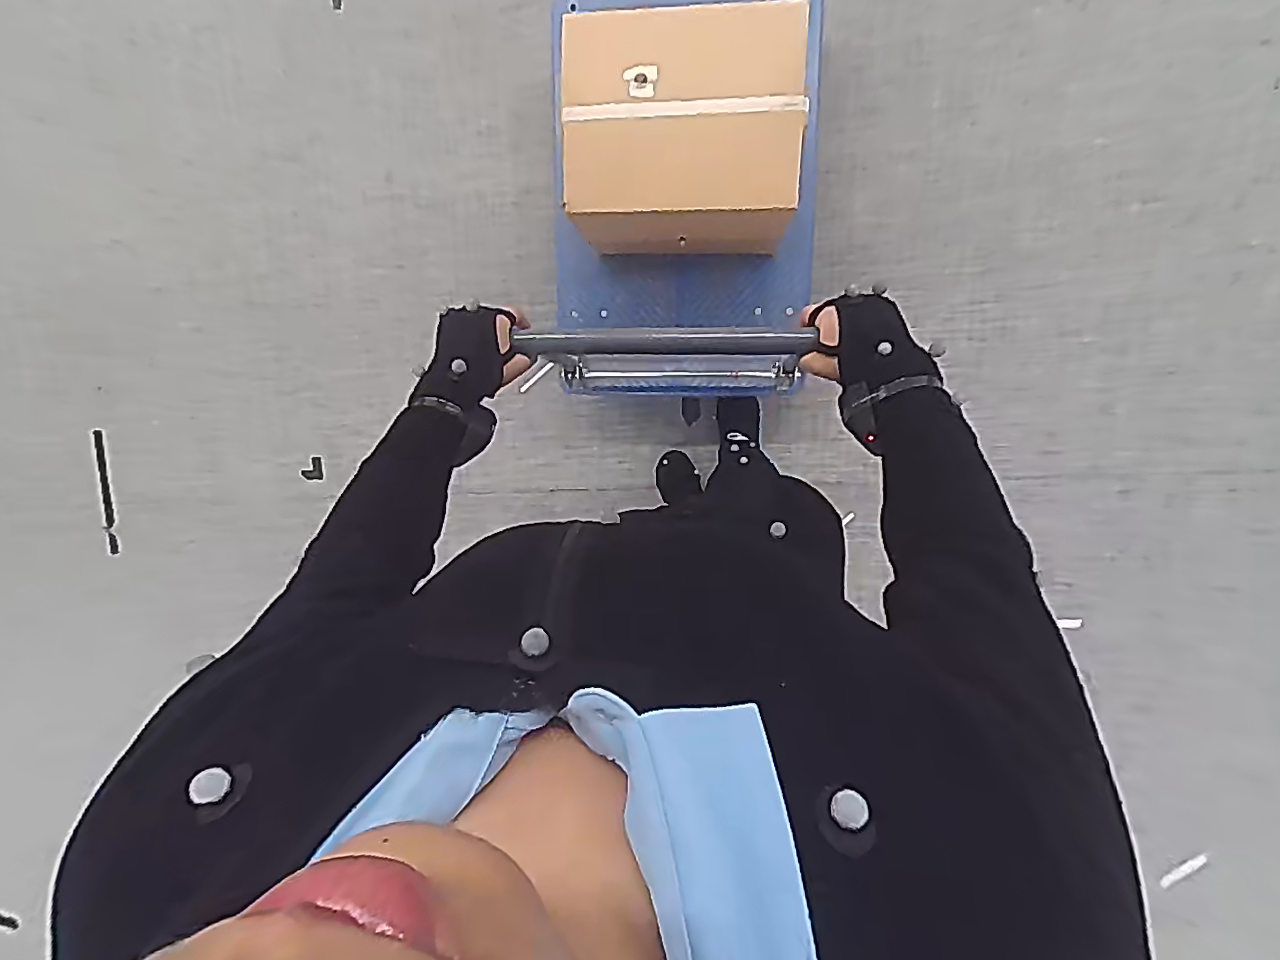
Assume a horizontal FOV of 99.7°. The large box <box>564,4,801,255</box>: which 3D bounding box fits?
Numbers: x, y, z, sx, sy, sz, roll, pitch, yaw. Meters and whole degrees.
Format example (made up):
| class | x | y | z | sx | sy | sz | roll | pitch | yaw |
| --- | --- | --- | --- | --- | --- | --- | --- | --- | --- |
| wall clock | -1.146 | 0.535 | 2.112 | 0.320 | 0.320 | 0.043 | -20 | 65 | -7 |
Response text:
| class | x | y | z | sx | sy | sz | roll | pitch | yaw |
| --- | --- | --- | --- | --- | --- | --- | --- | --- | --- |
| large box | 0.087 | -0.644 | 1.065 | 0.408 | 0.320 | 0.320 | 2 | 98 | 8 |
